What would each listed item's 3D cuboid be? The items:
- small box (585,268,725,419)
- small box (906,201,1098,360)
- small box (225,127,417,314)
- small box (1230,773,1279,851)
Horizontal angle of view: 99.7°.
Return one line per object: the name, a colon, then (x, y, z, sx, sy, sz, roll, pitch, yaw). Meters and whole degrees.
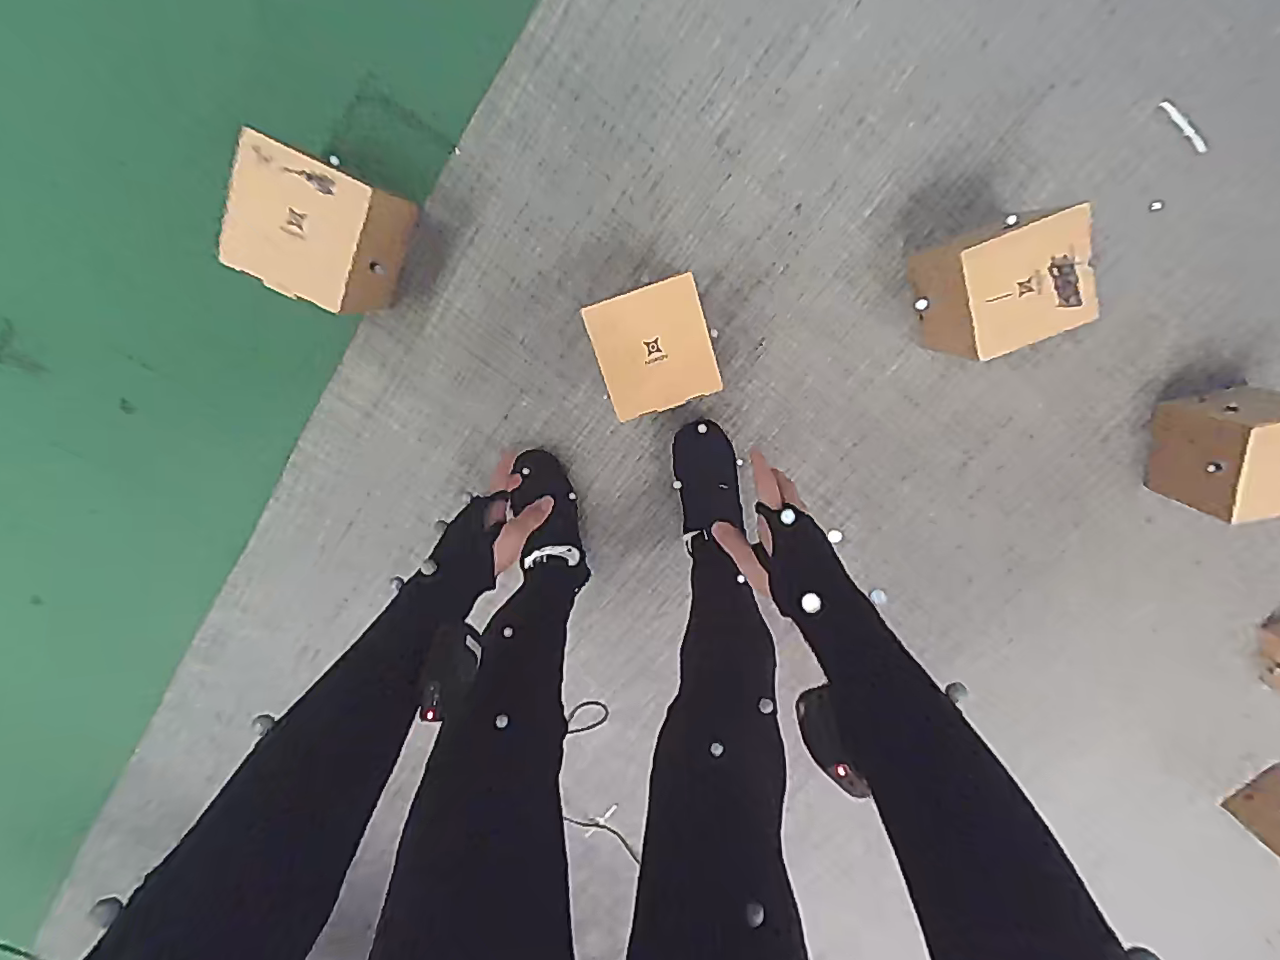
small box: (0.021, -0.219, 0.852, 0.168, 0.176, 0.179, -18, 111, 5)
small box: (0.546, -0.304, 0.830, 0.179, 0.176, 0.168, -21, 109, 7)
small box: (-0.449, -0.363, 0.786, 0.168, 0.176, 0.179, 24, 109, -10)
small box: (1.585, 0.822, 1.276, 0.179, 0.176, 0.168, 31, 108, -12)
